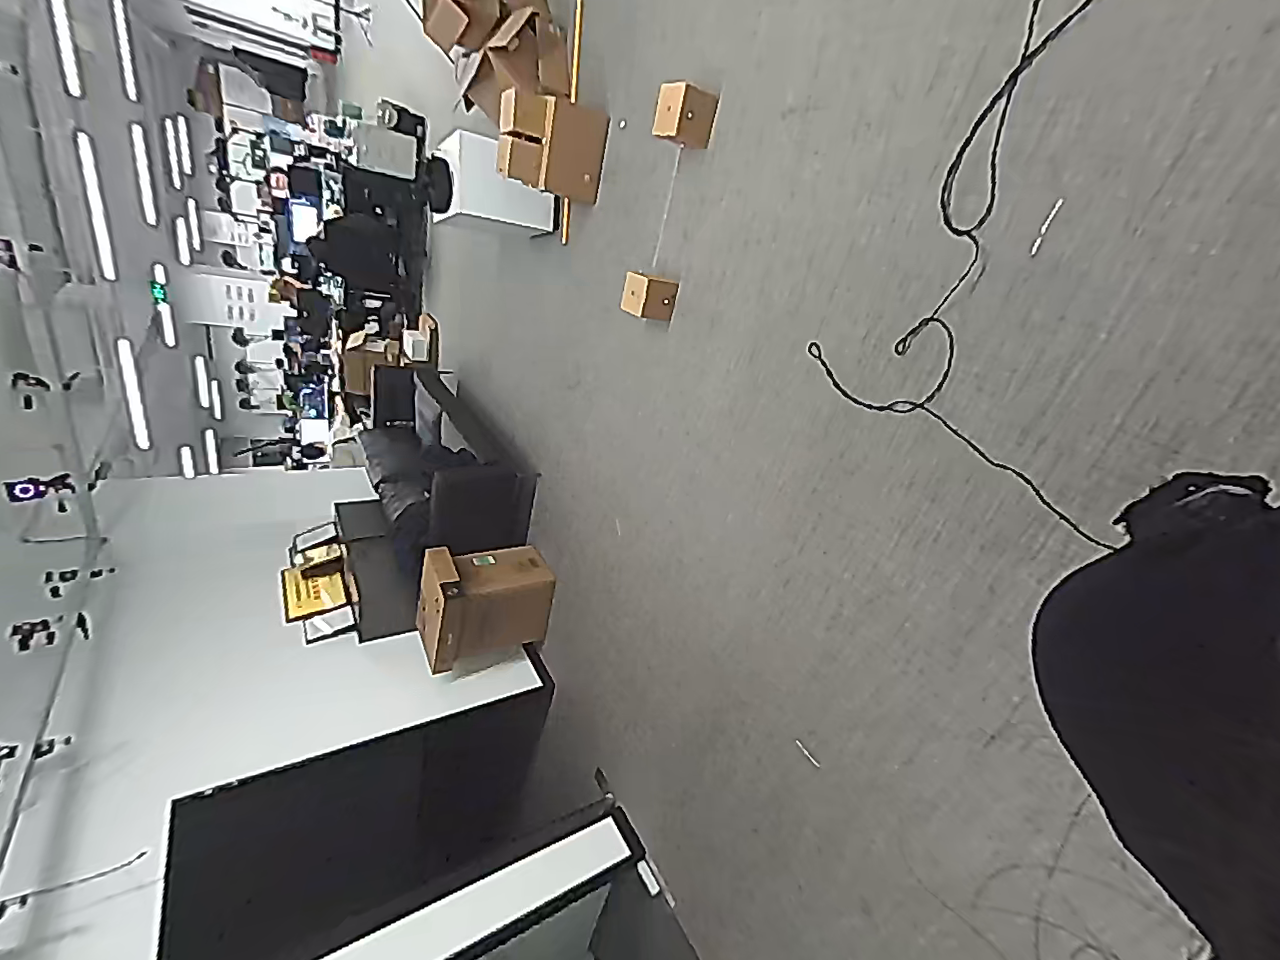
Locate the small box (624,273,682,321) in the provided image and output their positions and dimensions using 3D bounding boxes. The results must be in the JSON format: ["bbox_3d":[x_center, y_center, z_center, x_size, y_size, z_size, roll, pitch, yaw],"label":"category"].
[{"bbox_3d":[0.057,-0.810,2.404,0.179,0.176,0.168,41,127,45],"label":"small box"}]

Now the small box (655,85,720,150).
[{"bbox_3d":[0.189,-1.421,2.123,0.168,0.176,0.179,41,127,45],"label":"small box"}]
